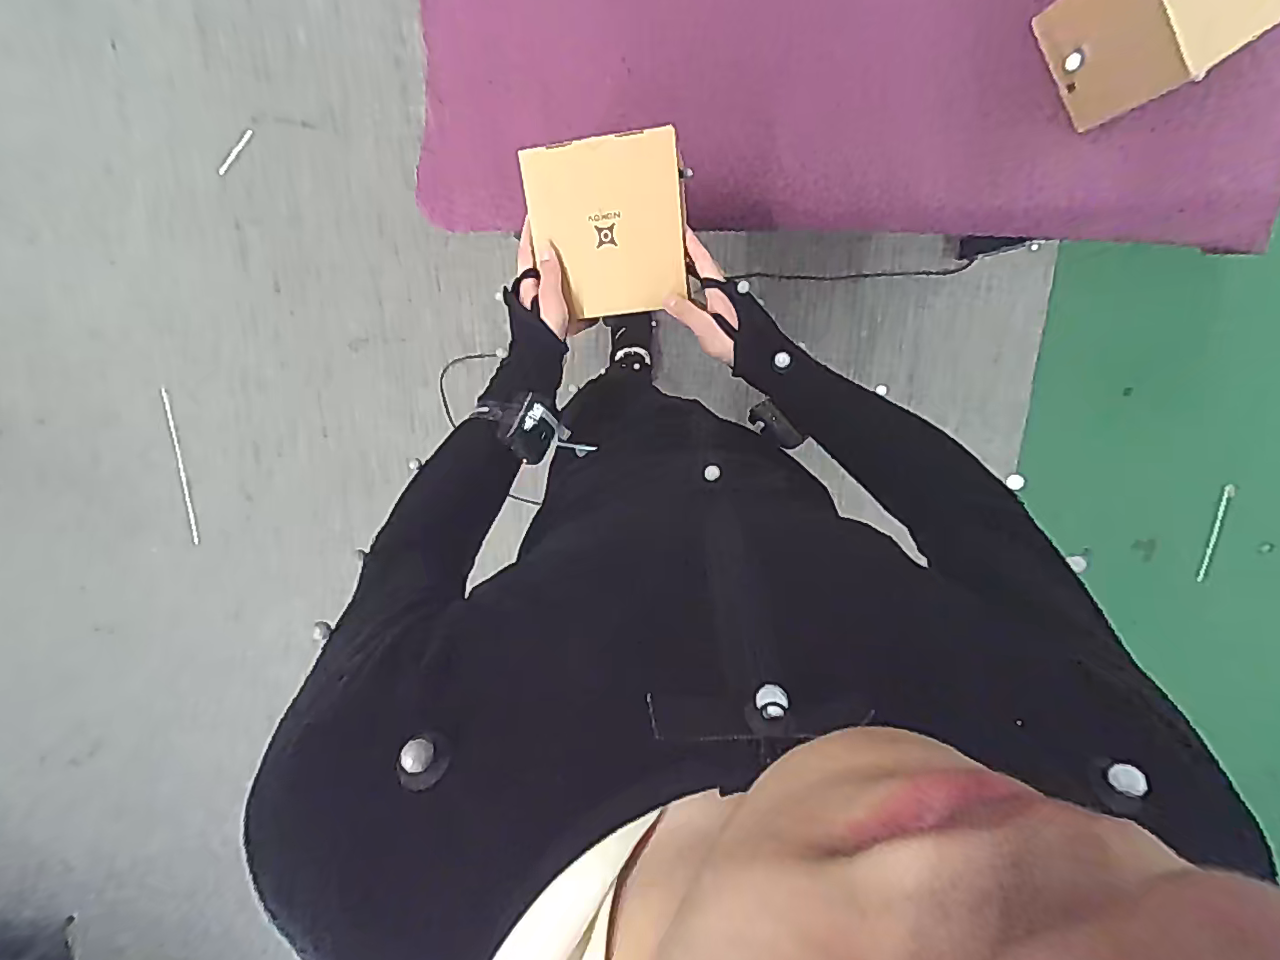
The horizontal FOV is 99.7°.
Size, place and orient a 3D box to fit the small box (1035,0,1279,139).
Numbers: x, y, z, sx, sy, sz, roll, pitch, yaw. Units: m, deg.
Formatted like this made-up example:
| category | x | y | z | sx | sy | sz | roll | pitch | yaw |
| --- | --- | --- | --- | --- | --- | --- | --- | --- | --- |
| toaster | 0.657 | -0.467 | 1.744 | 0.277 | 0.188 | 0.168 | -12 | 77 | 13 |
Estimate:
| category | x | y | z | sx | sy | sz | roll | pitch | yaw |
| --- | --- | --- | --- | --- | --- | --- | --- | --- | --- |
| small box | 0.642 | -0.564 | 0.656 | 0.179 | 0.176 | 0.168 | -32 | 101 | 8 |

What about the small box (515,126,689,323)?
| category | x | y | z | sx | sy | sz | roll | pitch | yaw |
| --- | --- | --- | --- | --- | --- | --- | --- | --- | --- |
| small box | -0.031 | -0.291 | 0.646 | 0.168 | 0.176 | 0.179 | -4 | 108 | 9 |
